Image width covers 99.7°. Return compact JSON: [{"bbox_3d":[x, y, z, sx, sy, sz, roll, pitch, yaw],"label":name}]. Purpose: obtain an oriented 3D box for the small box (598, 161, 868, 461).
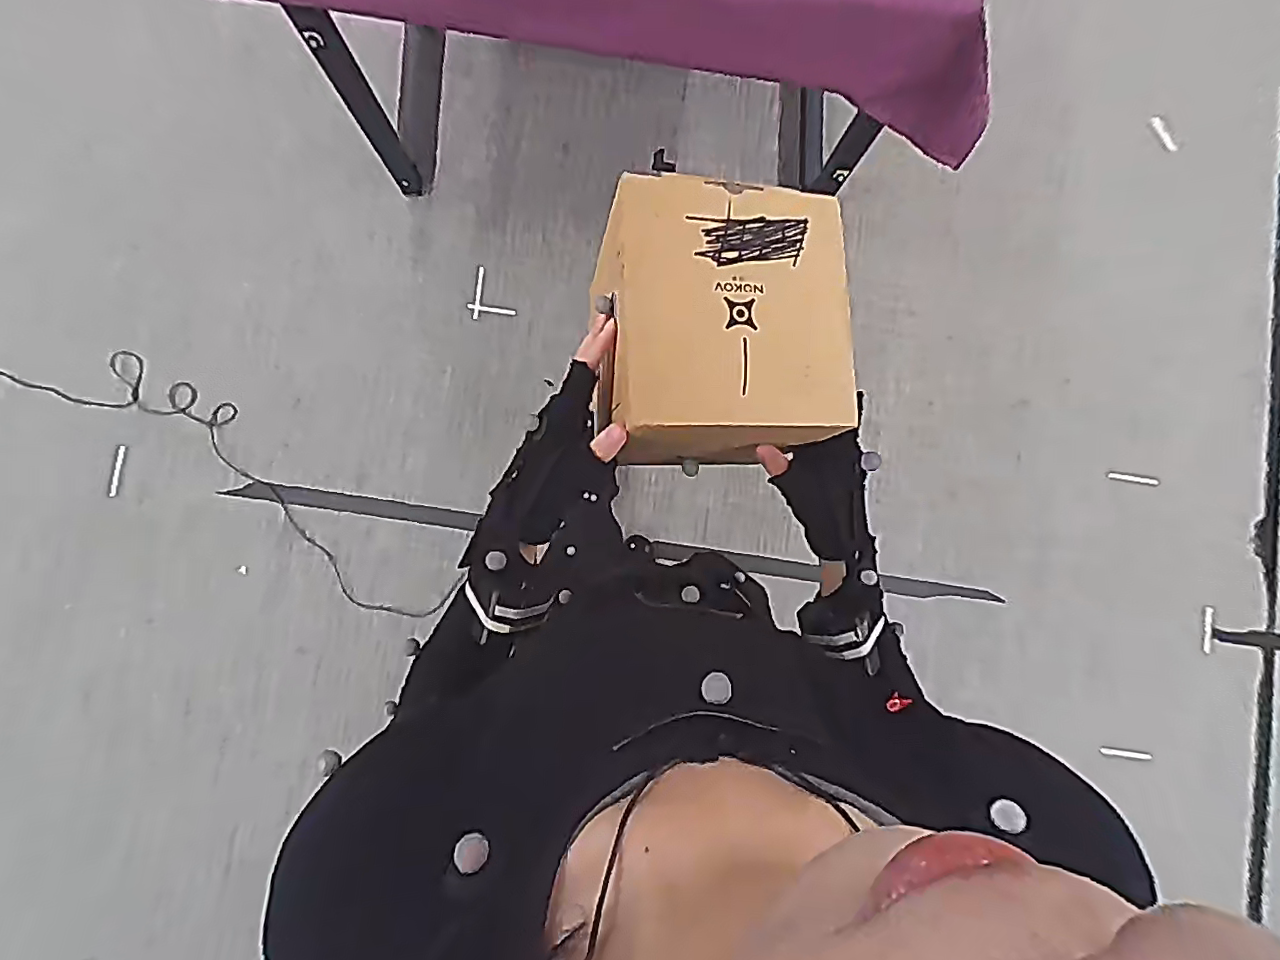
[{"bbox_3d":[0.057,-0.118,0.445,0.168,0.176,0.179,-1,82,-12],"label":"small box"}]
